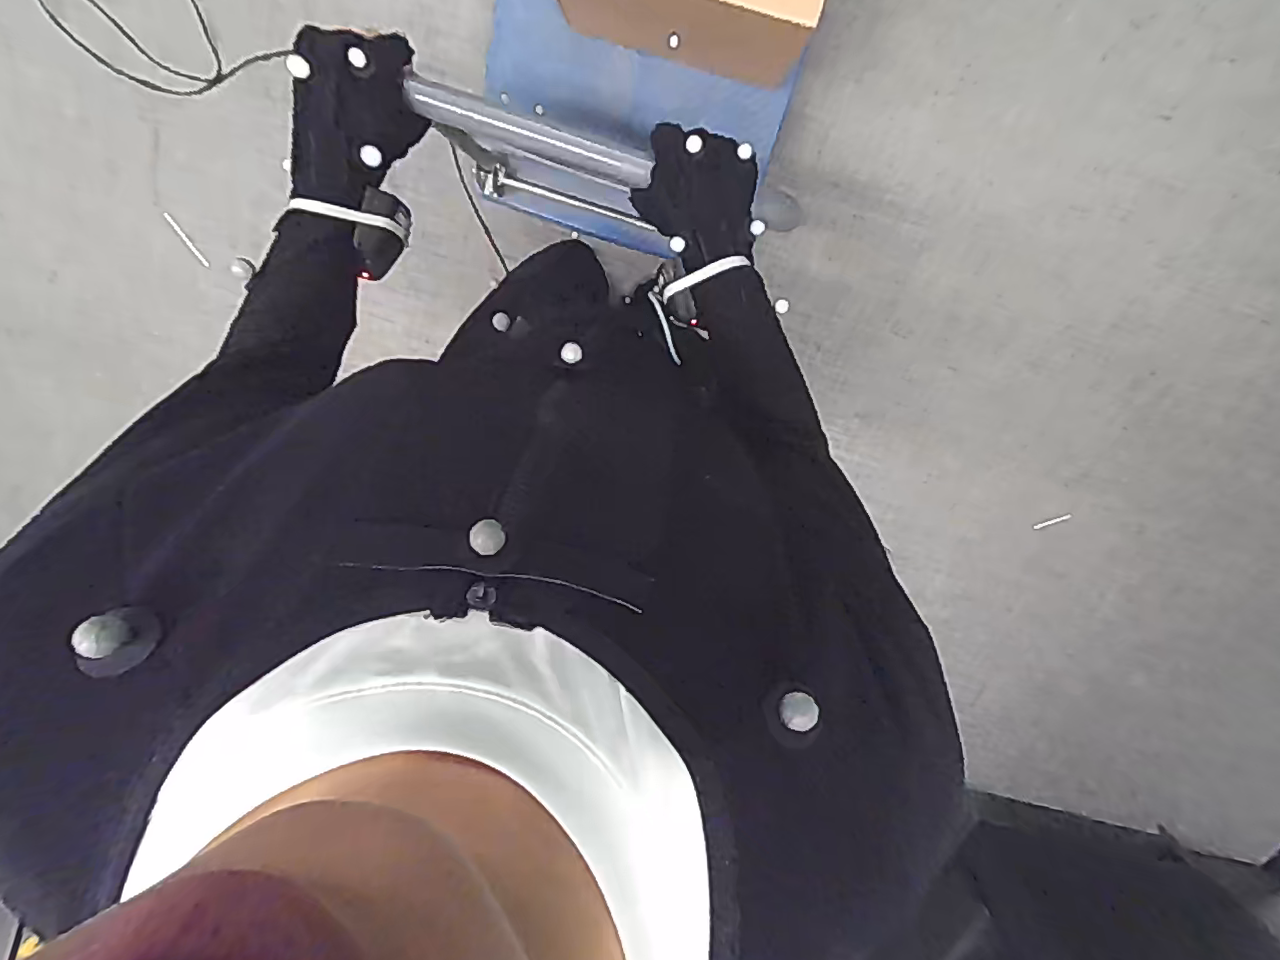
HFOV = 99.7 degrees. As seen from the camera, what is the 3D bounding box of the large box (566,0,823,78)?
[{"bbox_3d":[0.100,-0.884,0.835,0.408,0.320,0.320,13,113,-2],"label":"large box"}]
